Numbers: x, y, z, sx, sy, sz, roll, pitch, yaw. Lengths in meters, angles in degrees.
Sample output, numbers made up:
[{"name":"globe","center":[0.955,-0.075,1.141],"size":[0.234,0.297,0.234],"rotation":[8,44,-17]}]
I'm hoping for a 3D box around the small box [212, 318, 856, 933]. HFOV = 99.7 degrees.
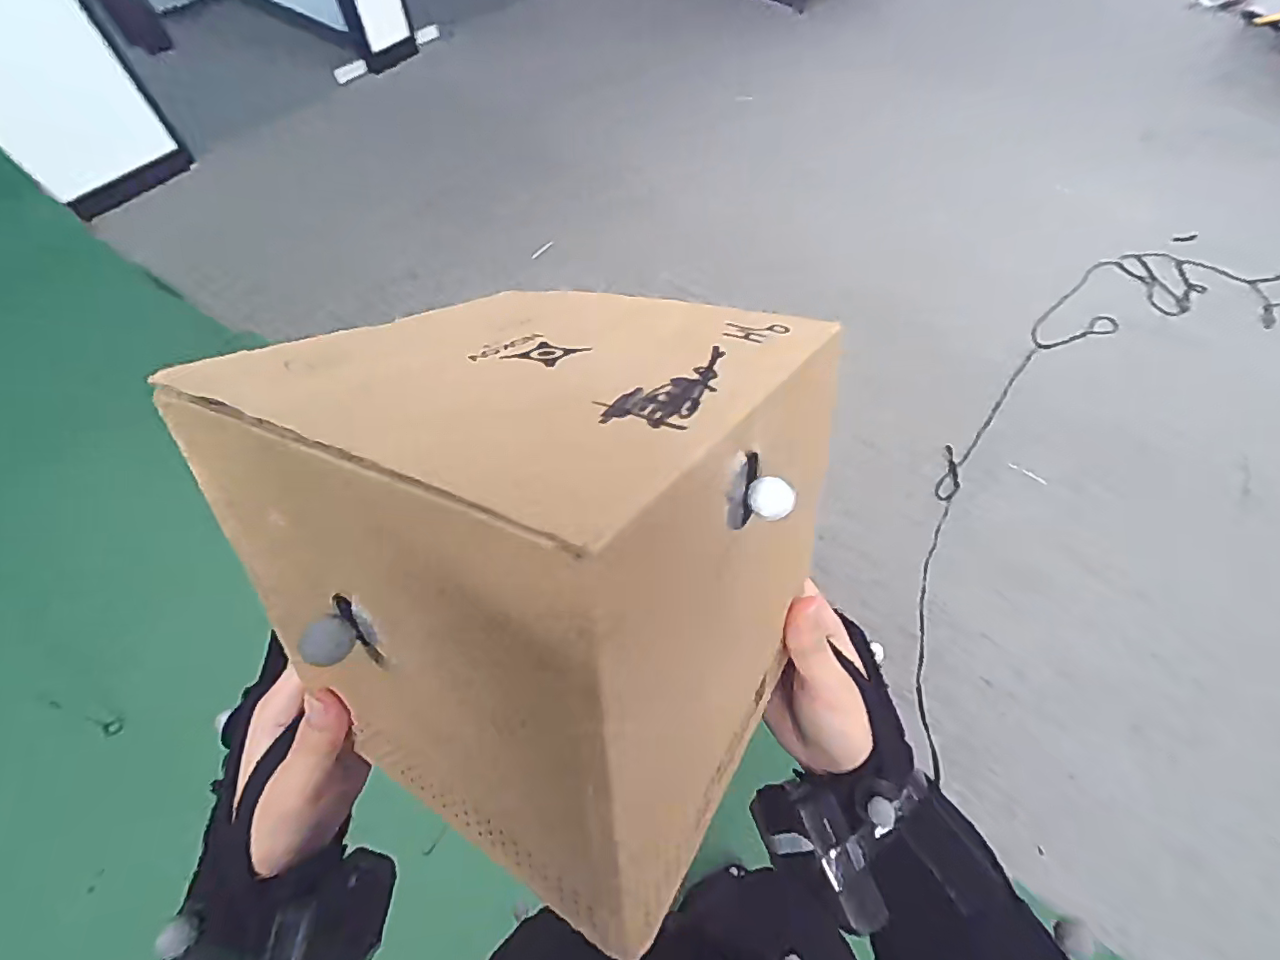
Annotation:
[{"name":"small box","center":[-0.026,0.037,0.235],"size":[0.179,0.176,0.168],"rotation":[15,35,29]}]
